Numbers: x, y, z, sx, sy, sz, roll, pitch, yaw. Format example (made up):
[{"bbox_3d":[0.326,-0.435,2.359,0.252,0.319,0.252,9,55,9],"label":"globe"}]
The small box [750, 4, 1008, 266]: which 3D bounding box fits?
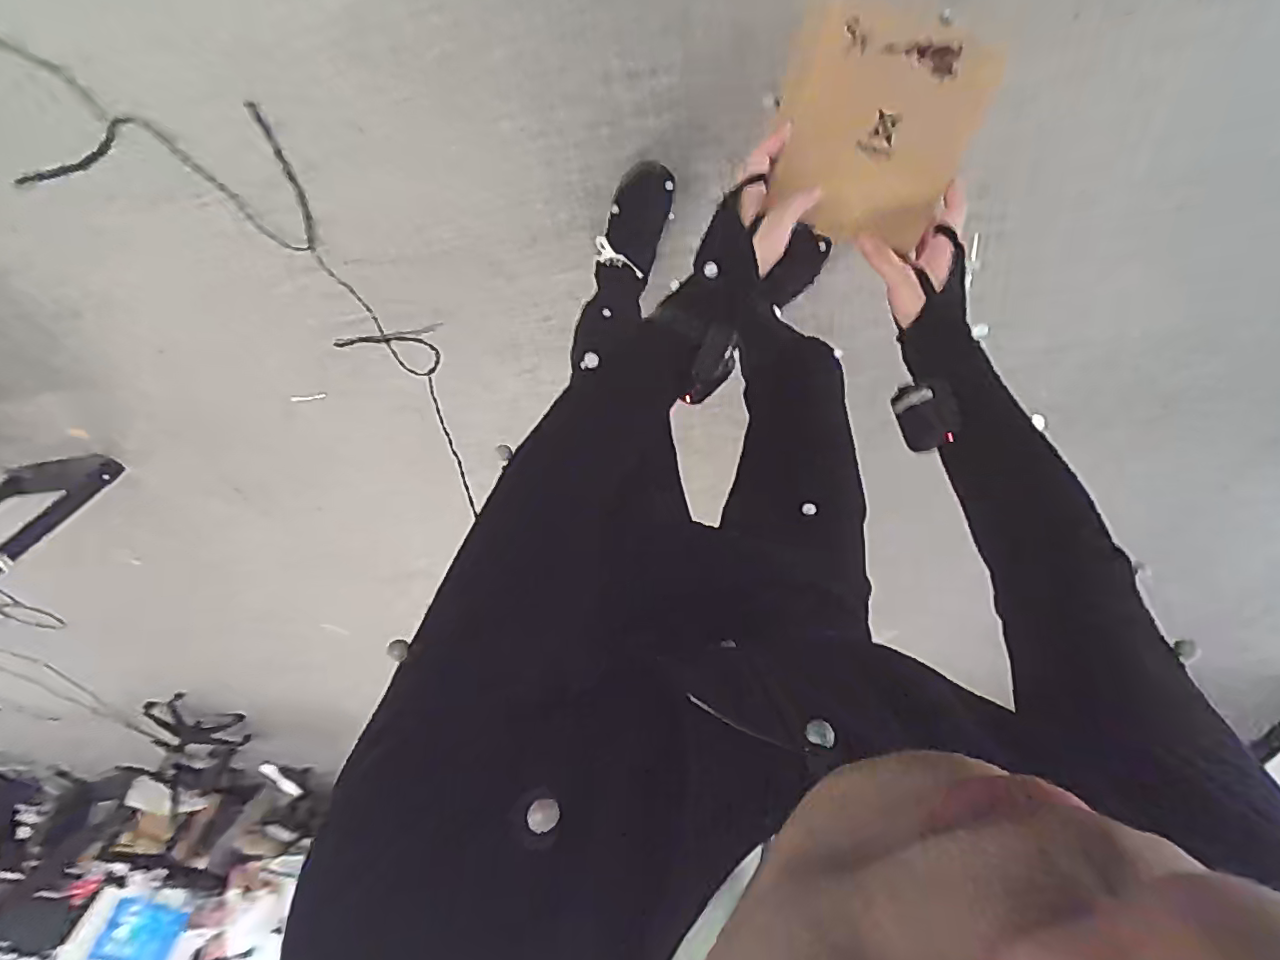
[{"bbox_3d":[0.221,-0.353,0.562,0.168,0.176,0.179,13,128,-5],"label":"small box"}]
